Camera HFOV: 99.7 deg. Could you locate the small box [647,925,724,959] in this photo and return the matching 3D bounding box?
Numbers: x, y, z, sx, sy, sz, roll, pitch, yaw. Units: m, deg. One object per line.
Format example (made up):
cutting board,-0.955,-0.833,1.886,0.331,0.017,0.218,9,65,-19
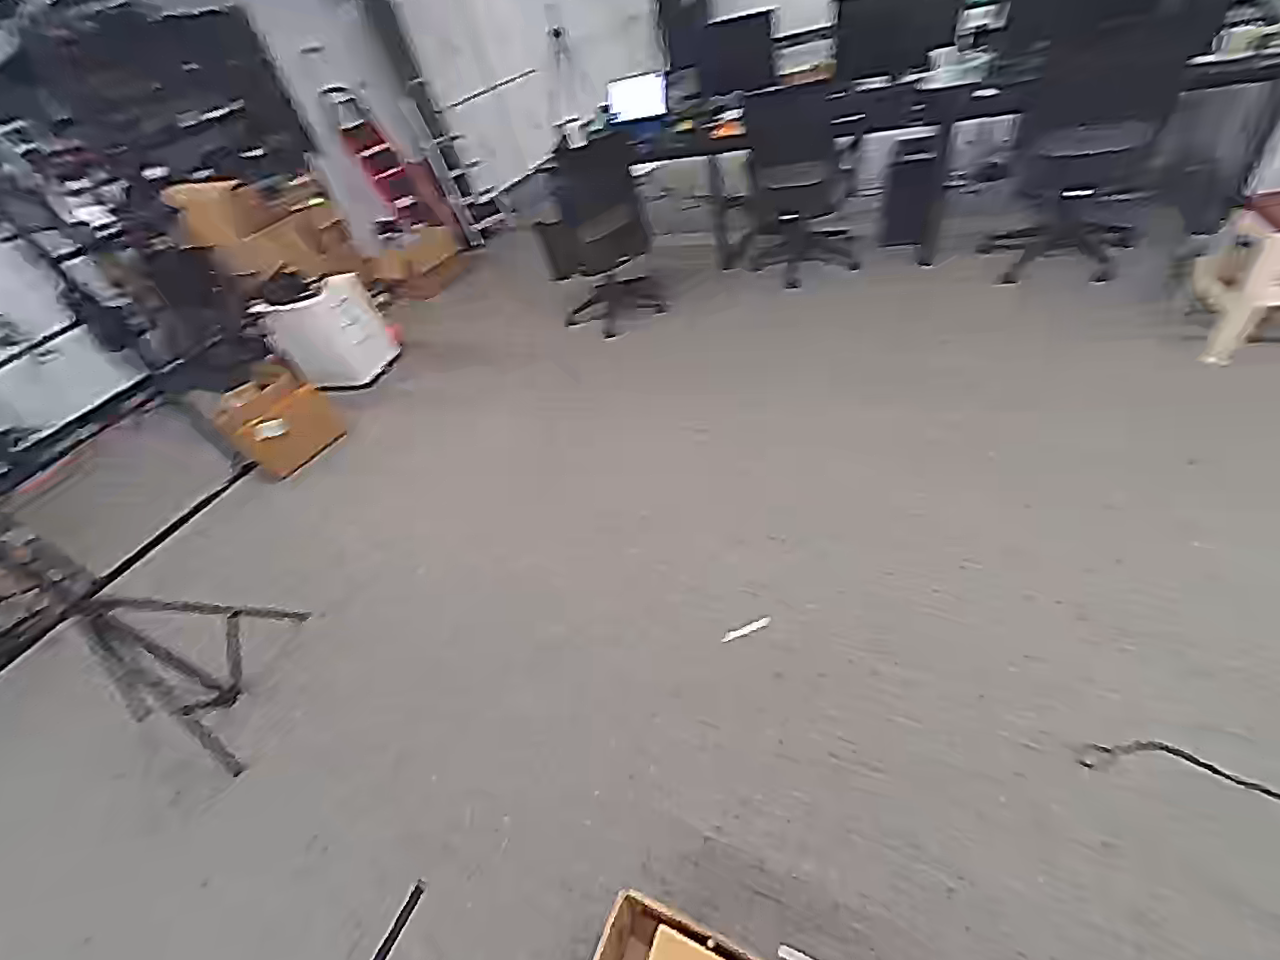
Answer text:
small box,0.099,0.980,1.010,0.179,0.176,0.168,9,50,26
